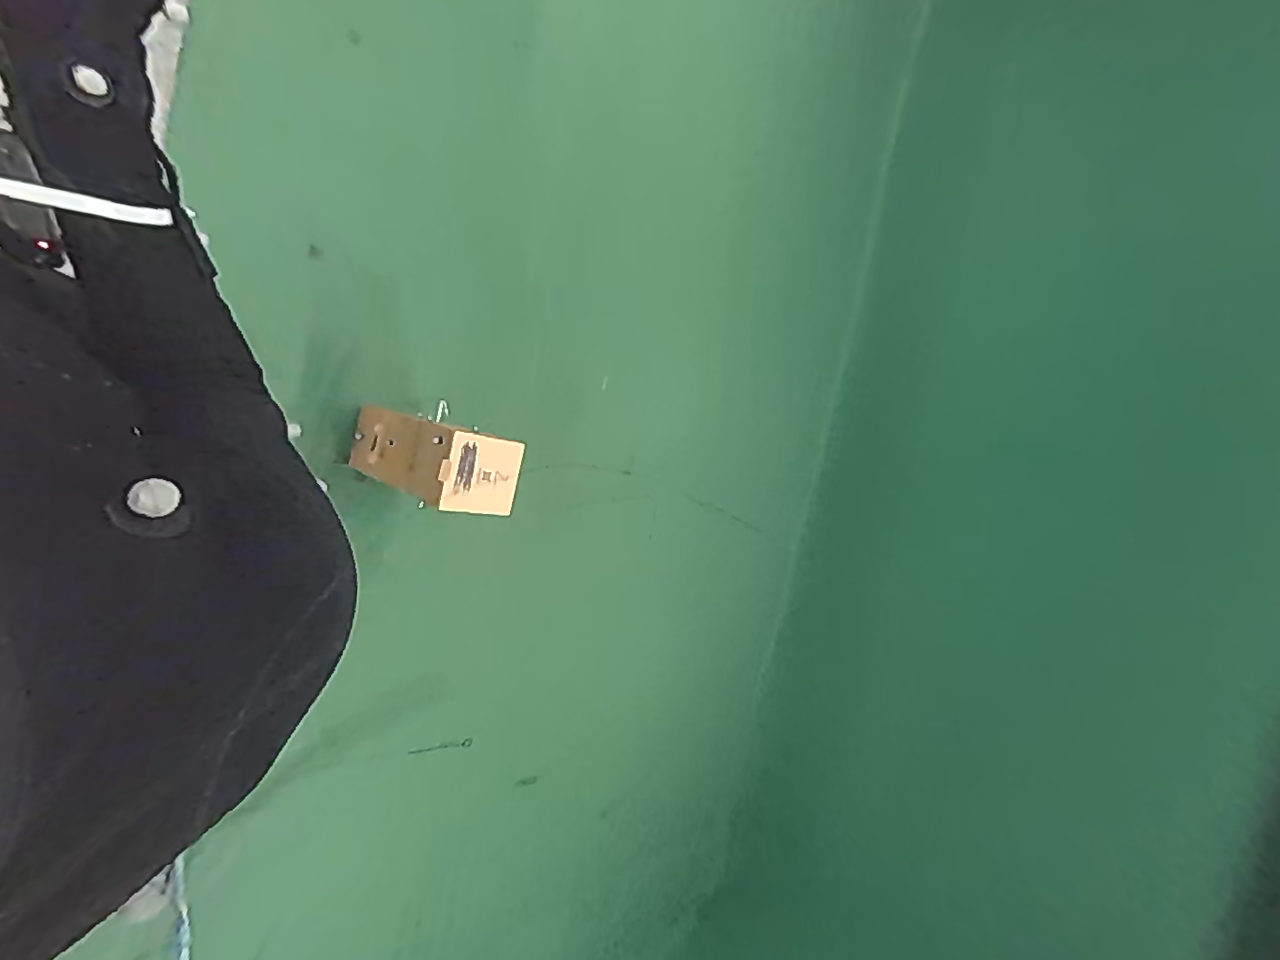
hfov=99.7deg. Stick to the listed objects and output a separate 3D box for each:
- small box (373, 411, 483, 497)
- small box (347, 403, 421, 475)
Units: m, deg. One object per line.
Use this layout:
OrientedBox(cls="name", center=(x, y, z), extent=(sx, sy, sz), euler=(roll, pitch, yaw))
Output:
OrientedBox(cls="small box", center=(-0.513, -0.065, 1.307), extent=(0.179, 0.176, 0.168), euler=(10, 95, -48))
OrientedBox(cls="small box", center=(-0.631, -0.098, 1.414), extent=(0.179, 0.176, 0.168), euler=(12, 93, -48))
